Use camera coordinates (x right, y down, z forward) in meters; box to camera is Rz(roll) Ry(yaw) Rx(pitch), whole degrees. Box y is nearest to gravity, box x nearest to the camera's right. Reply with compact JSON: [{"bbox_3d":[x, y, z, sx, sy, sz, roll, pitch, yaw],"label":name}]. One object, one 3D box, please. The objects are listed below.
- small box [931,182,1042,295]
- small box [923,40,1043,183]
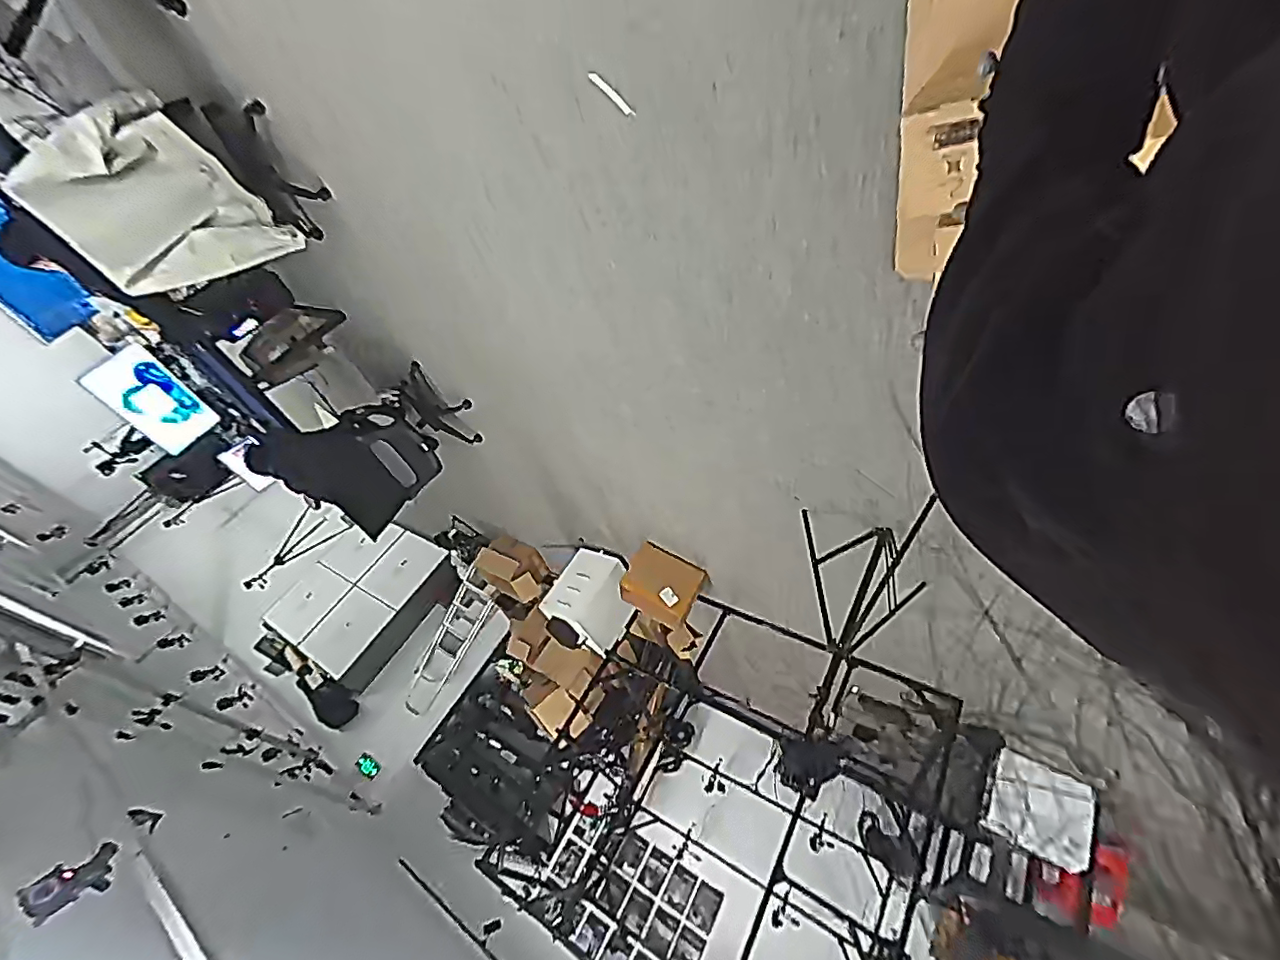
[{"bbox_3d":[0.762,-0.530,1.195,0.179,0.176,0.168,11,144,36],"label":"small box"},{"bbox_3d":[0.655,-0.708,1.038,0.168,0.176,0.179,12,144,36],"label":"small box"}]
